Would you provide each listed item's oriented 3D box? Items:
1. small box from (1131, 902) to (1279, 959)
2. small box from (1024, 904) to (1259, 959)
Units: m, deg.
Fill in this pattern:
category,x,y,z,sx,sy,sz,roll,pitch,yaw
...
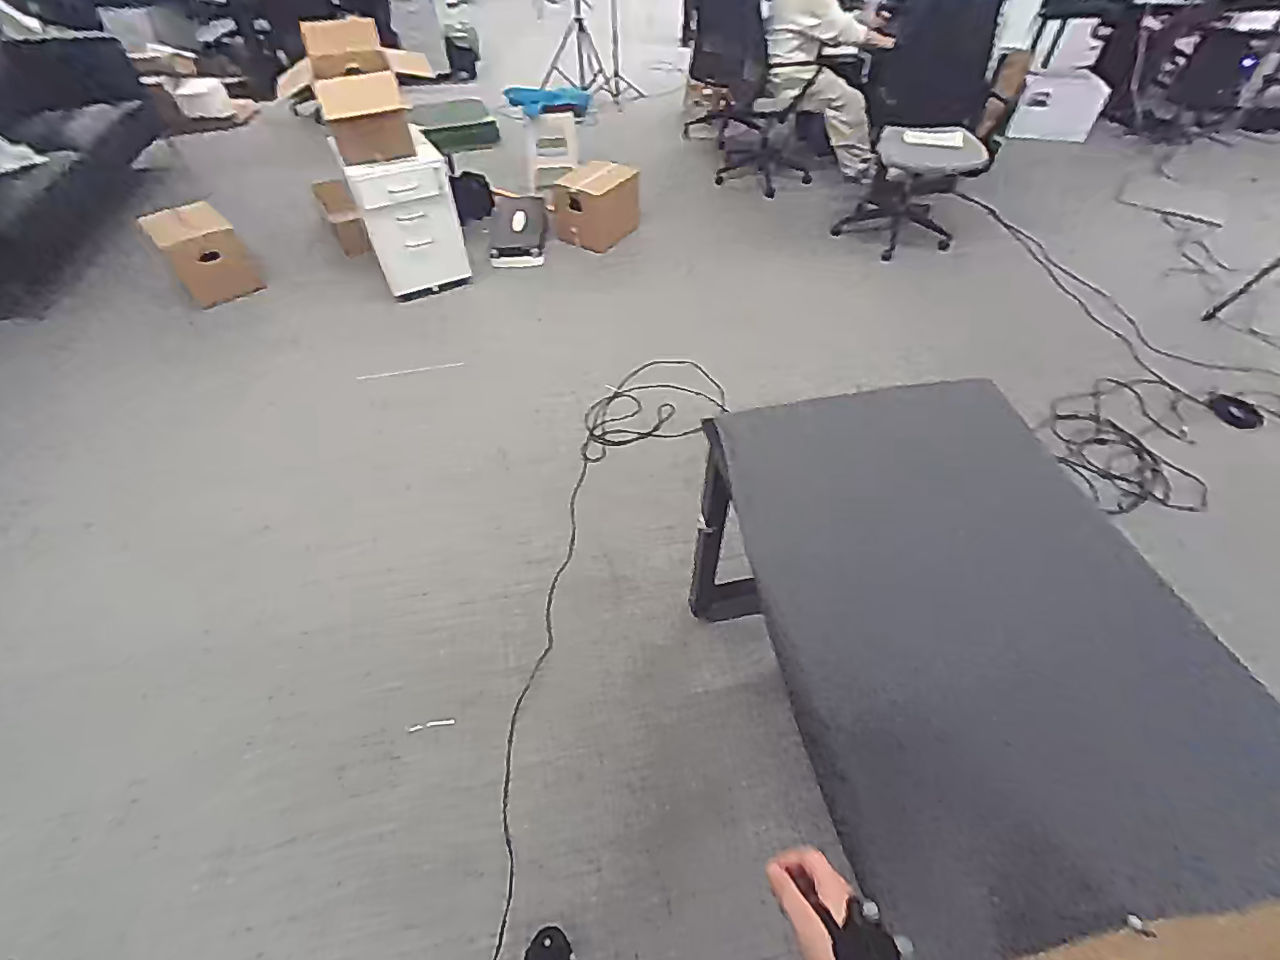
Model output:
category,x,y,z,sx,sy,sz,roll,pitch,yaw
small box,0.475,0.380,0.336,0.179,0.176,0.168,-11,48,-11
small box,0.474,0.488,0.458,0.179,0.176,0.168,-7,48,-10
